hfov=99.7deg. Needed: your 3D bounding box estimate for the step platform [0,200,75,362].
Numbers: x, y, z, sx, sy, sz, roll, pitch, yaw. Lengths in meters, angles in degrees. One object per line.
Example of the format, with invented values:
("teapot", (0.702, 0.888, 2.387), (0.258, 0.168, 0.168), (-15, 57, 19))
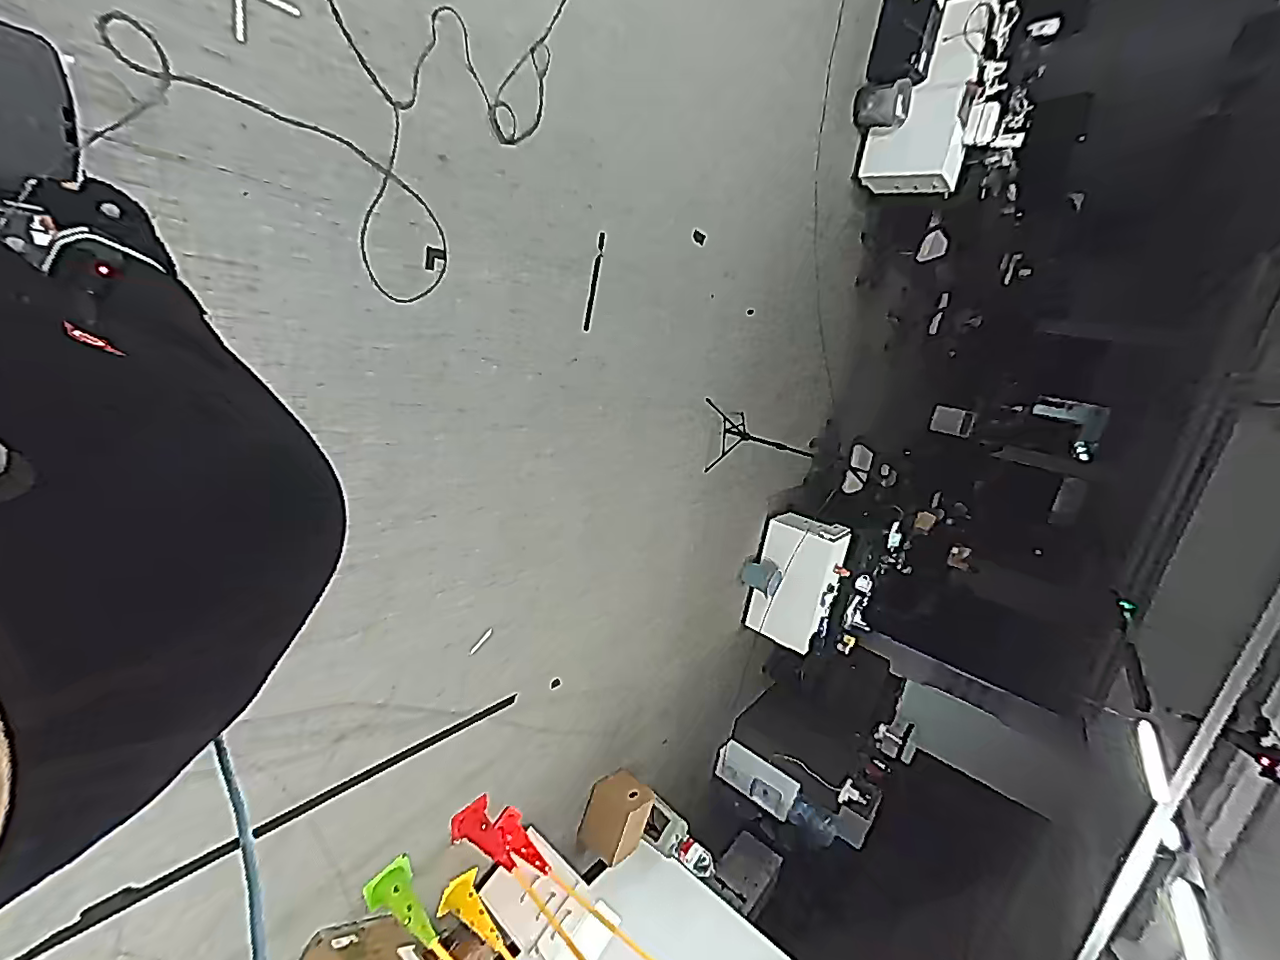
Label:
("step platform", (-1.347, -0.341, 0.816), (0.684, 0.204, 0.286), (-10, 115, -50))
